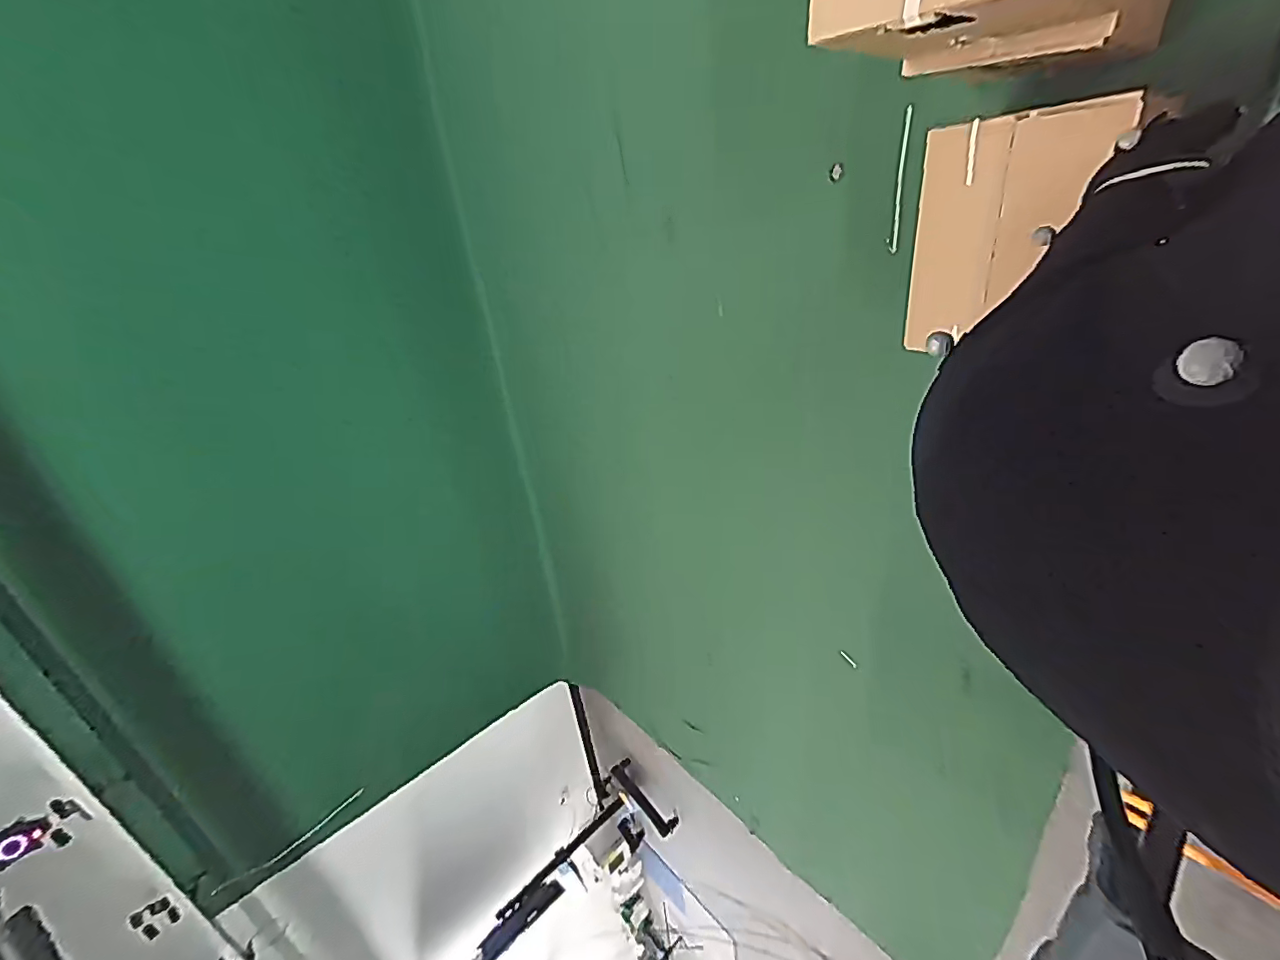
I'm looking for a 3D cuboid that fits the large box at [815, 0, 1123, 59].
[{"bbox_3d":[0.456,-0.832,0.693,0.320,0.320,0.408,24,129,42],"label":"large box"}]
